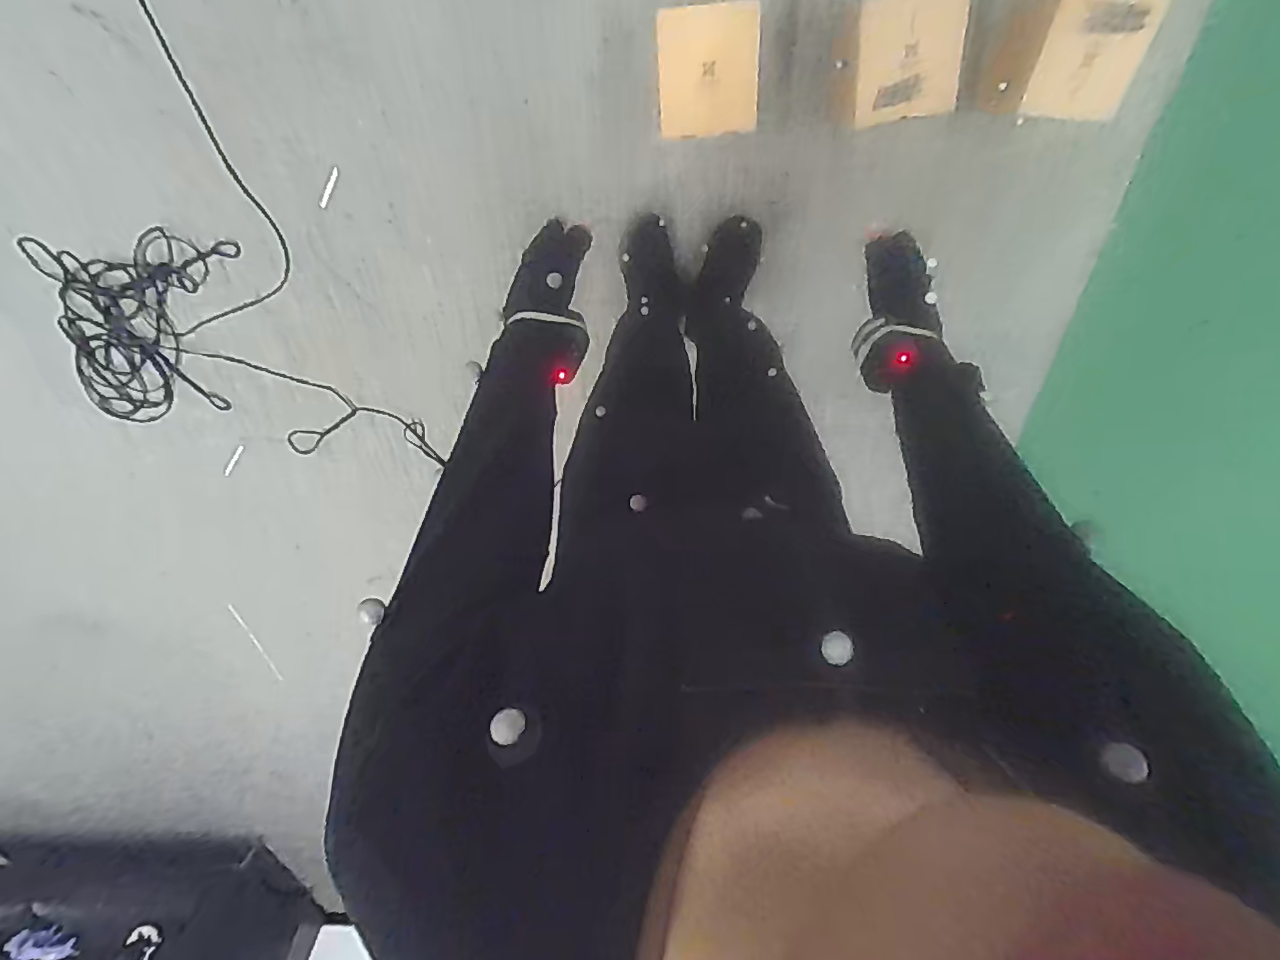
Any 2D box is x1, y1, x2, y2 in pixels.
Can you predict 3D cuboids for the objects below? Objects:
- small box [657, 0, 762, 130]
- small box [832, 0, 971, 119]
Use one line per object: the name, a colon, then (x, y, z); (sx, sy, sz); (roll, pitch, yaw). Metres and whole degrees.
small box: (0.116, -0.725, 0.943); (0.168, 0.176, 0.179); (-3, 126, 5)
small box: (0.433, -0.735, 0.920); (0.168, 0.176, 0.179); (-7, 125, 7)
